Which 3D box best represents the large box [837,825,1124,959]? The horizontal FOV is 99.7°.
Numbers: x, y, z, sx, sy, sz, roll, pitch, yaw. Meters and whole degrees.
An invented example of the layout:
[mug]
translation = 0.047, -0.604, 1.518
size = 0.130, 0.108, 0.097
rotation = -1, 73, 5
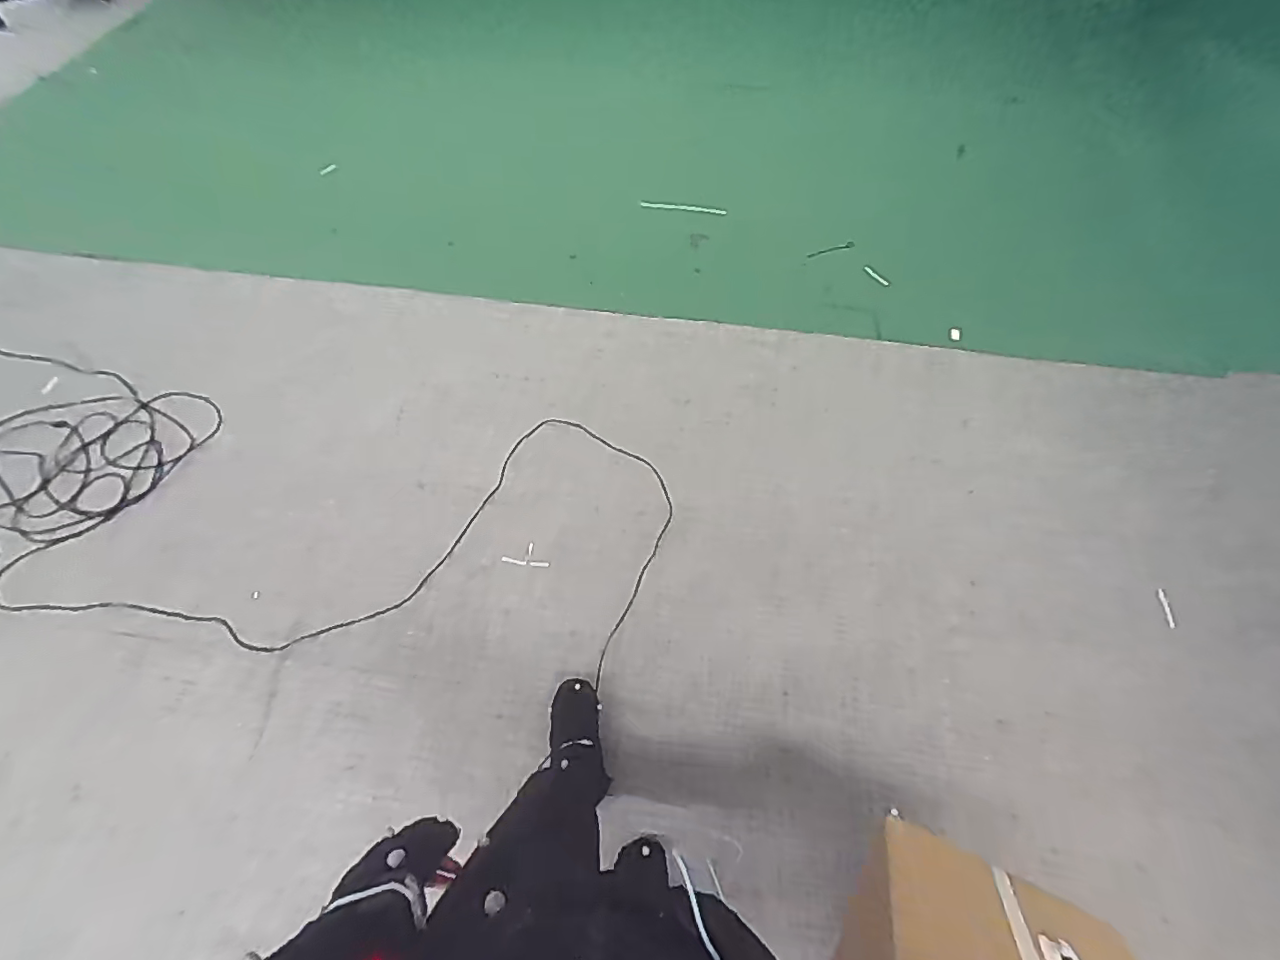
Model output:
[large box]
translation = 0.404, 0.726, 0.628
size = 0.320, 0.408, 0.320
rotation = 20, 96, 21
